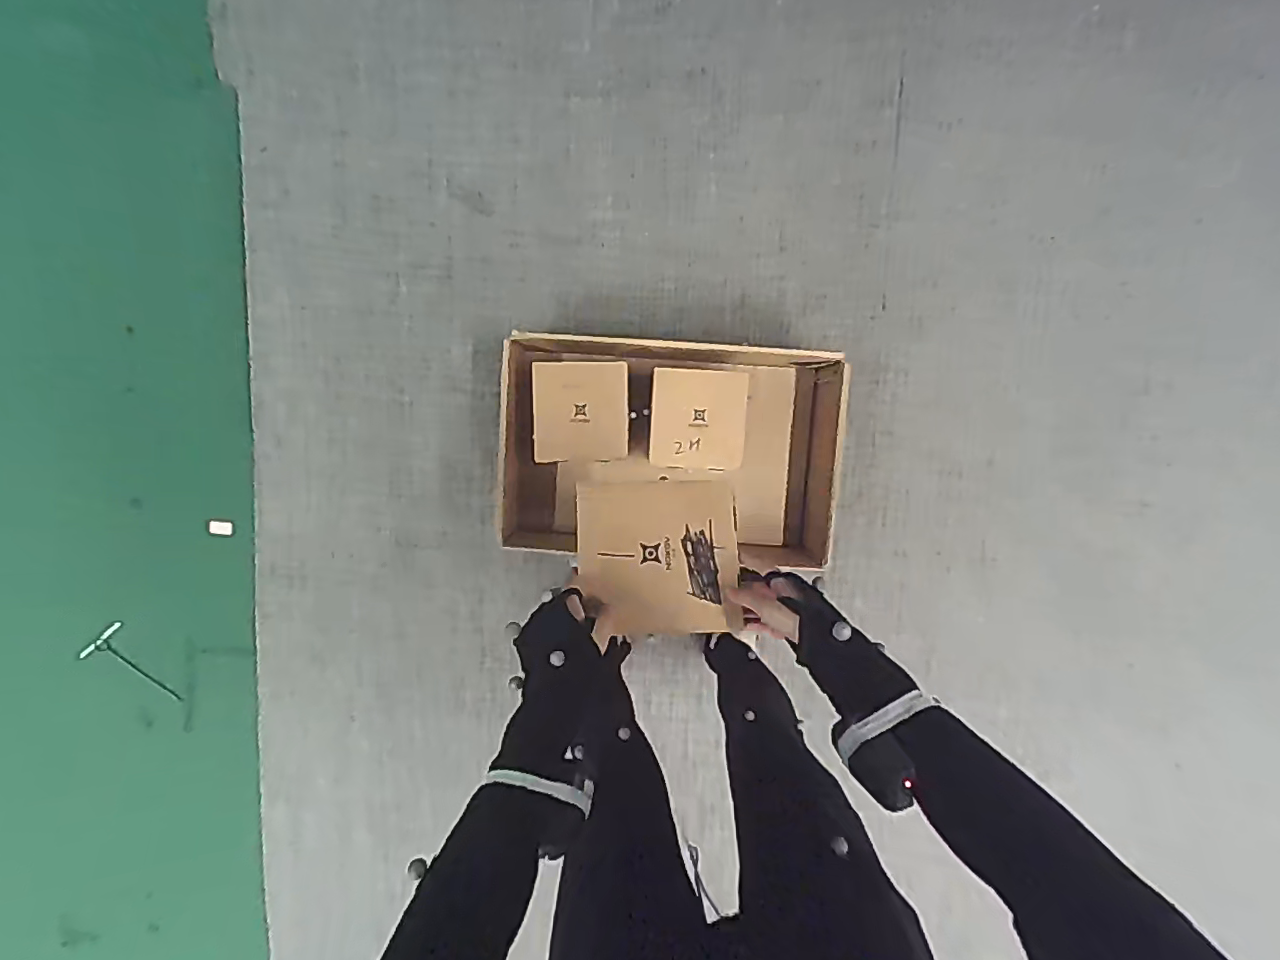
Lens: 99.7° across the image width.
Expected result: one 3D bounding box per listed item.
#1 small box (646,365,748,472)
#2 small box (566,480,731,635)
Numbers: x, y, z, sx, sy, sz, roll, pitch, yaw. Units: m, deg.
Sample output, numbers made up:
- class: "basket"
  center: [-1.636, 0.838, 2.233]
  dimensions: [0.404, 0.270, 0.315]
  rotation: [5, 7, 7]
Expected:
- class: "small box"
  center: [0.099, -0.113, 1.012]
  dimensions: [0.168, 0.176, 0.179]
  rotation: [4, 96, 1]
- class: "small box"
  center: [0.006, 0.096, 0.658]
  dimensions: [0.179, 0.176, 0.168]
  rotation: [-2, 77, -1]
